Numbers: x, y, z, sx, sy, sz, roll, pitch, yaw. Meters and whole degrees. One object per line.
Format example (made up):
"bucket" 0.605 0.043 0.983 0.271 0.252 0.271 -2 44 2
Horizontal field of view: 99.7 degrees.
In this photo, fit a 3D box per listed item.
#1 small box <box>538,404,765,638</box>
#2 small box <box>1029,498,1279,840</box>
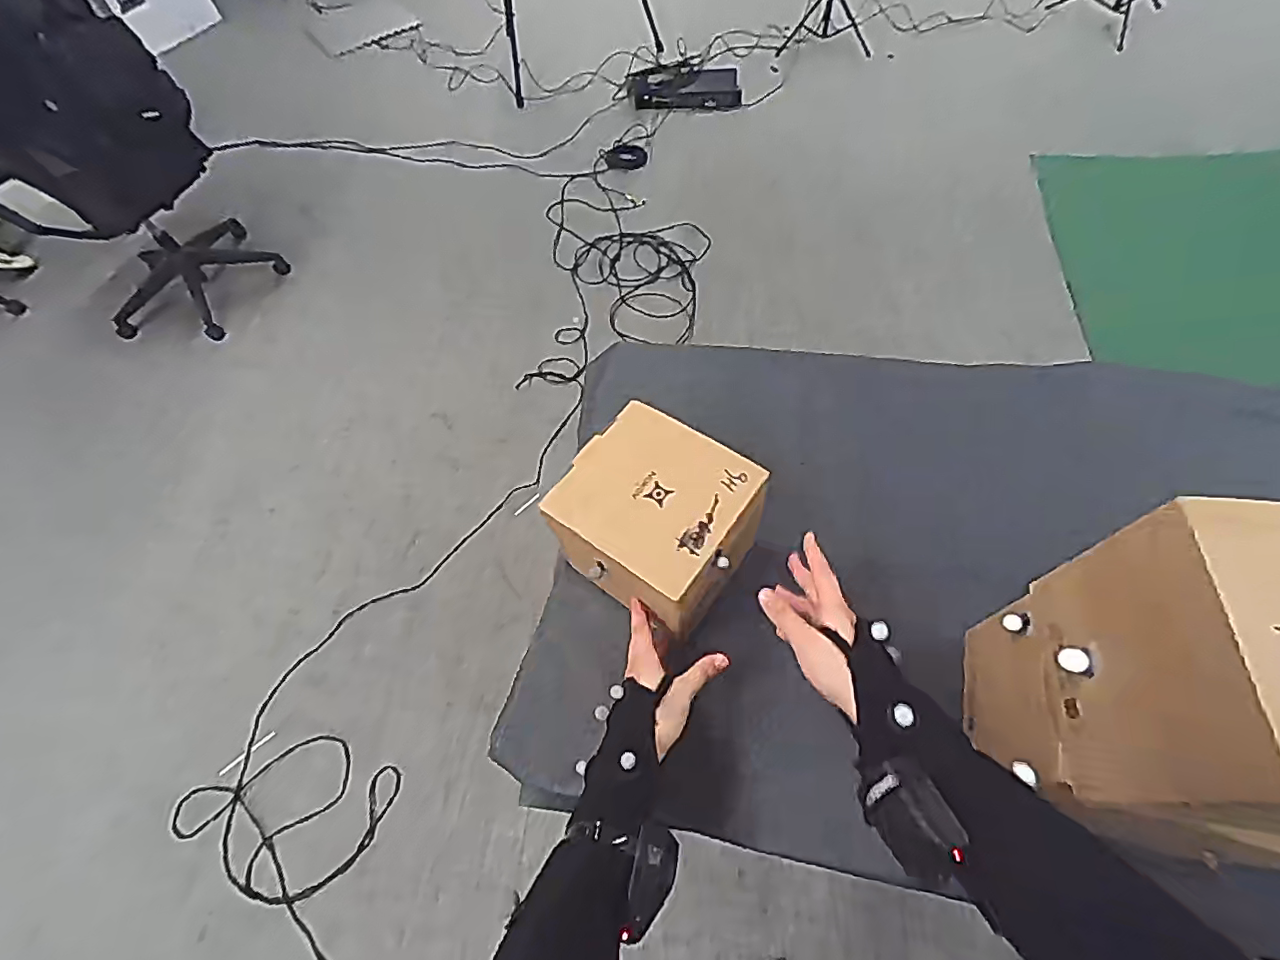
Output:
"small box" 0.019 0.053 0.612 0.179 0.176 0.168 31 67 23
"small box" 0.397 0.129 0.343 0.179 0.176 0.168 5 60 9
